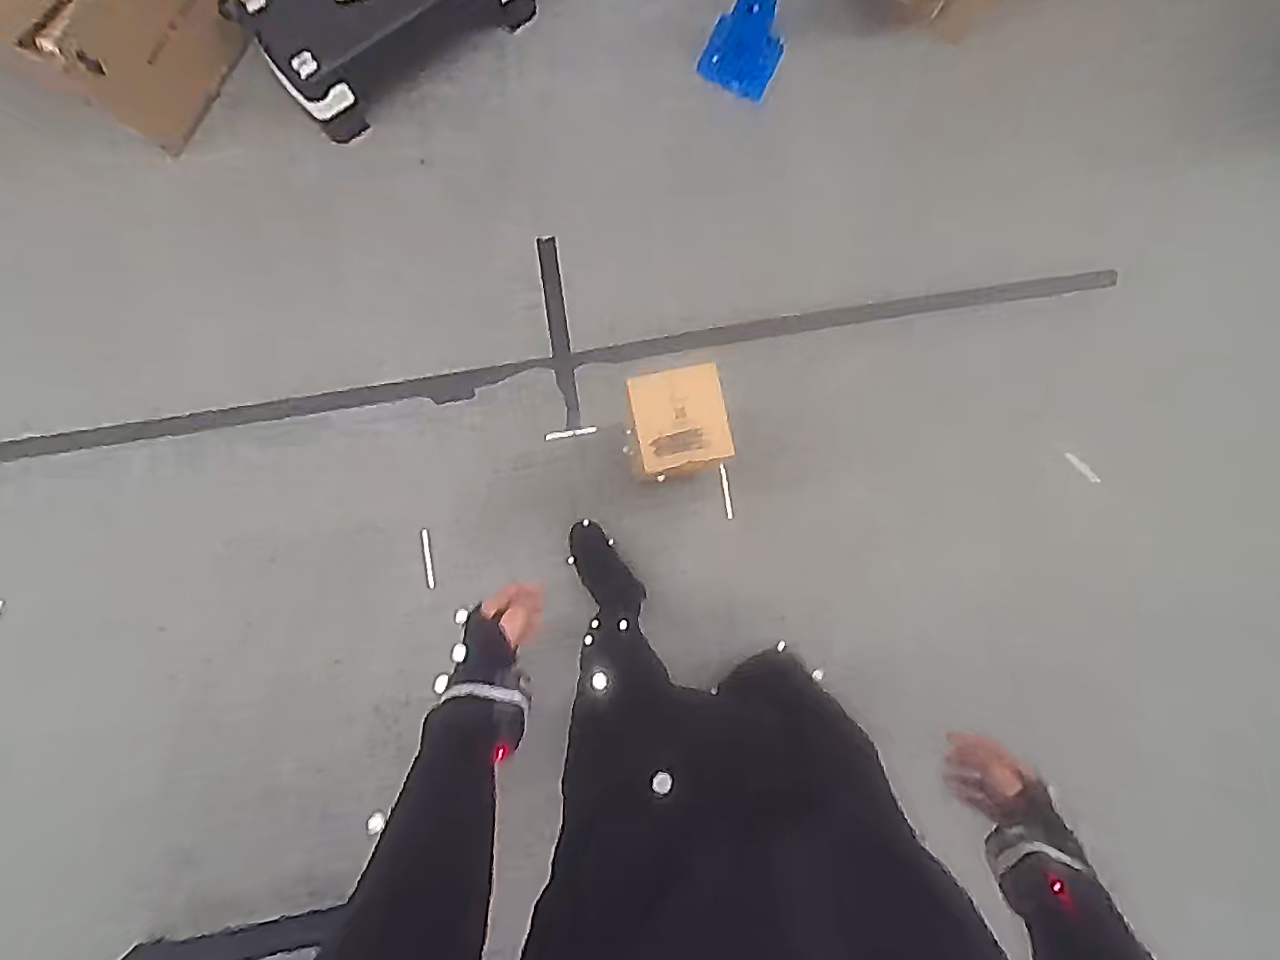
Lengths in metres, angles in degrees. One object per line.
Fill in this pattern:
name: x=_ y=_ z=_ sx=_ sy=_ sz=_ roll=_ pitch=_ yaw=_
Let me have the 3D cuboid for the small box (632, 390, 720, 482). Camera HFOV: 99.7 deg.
small box: x=0.074 y=-0.092 z=1.206 sx=0.168 sy=0.176 sz=0.179 roll=-6 pitch=88 yaw=-4

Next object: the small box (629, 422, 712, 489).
small box: x=0.072 y=-0.072 z=1.368 sx=0.179 sy=0.176 sz=0.168 roll=-10 pitch=88 yaw=-3
